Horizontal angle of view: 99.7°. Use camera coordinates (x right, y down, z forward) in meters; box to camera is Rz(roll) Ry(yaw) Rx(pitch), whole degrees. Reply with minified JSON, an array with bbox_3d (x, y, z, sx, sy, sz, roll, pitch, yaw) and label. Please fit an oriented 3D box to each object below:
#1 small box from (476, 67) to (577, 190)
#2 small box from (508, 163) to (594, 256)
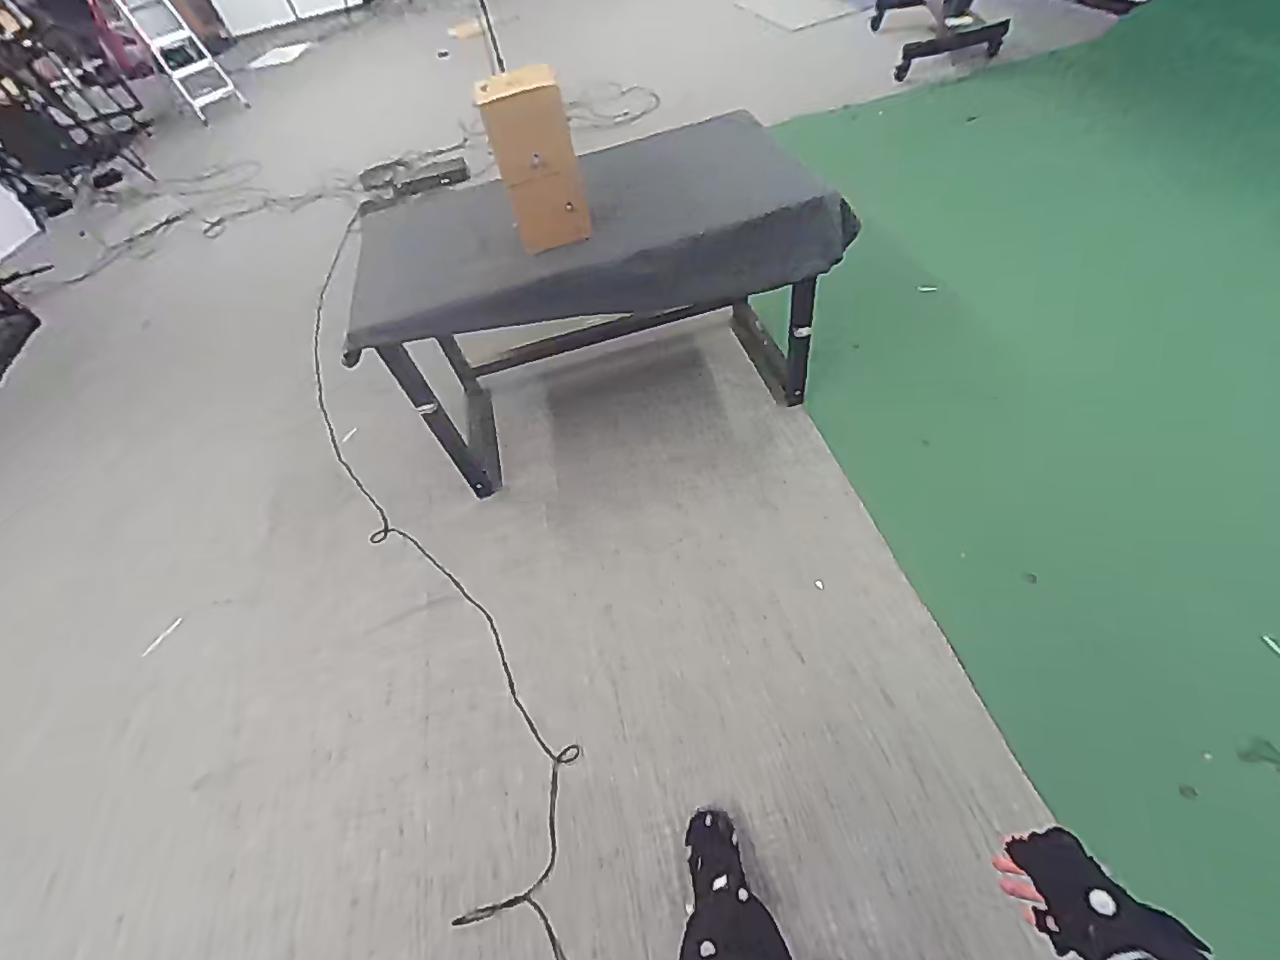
[{"bbox_3d":[-0.249,-0.788,1.219,0.179,0.176,0.168,-19,52,-2],"label":"small box"},{"bbox_3d":[-0.221,-0.690,1.345,0.179,0.176,0.168,-18,50,-1],"label":"small box"}]
